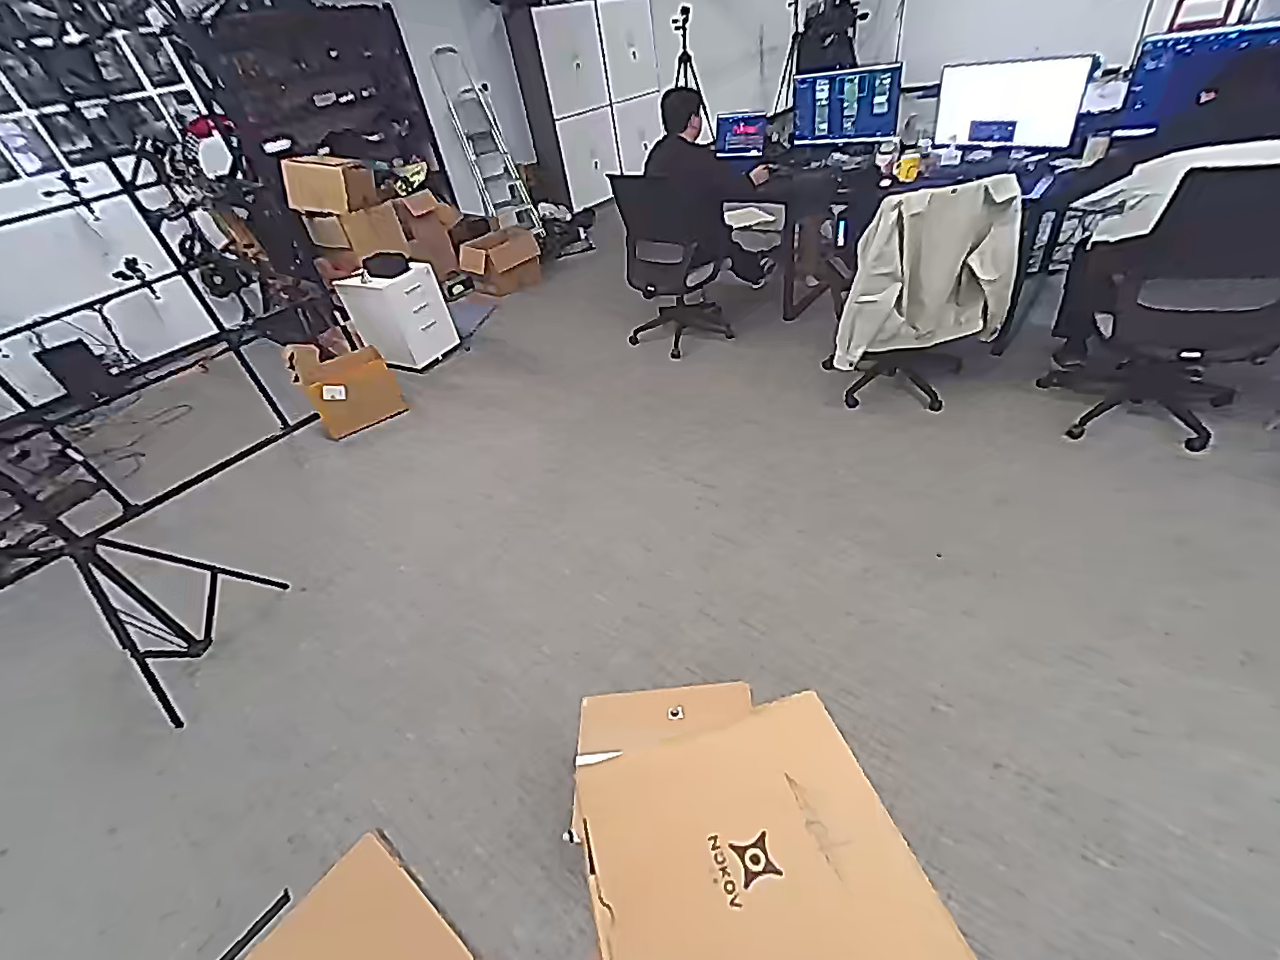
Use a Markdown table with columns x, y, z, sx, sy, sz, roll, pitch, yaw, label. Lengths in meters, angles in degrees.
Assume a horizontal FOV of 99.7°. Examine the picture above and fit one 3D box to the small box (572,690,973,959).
| x | y | z | sx | sy | sz | roll | pitch | yaw | label |
| --- | --- | --- | --- | --- | --- | --- | --- | --- | --- |
| 0.068 | 0.277 | 0.352 | 0.179 | 0.176 | 0.168 | -15 | 39 | -9 | small box |
